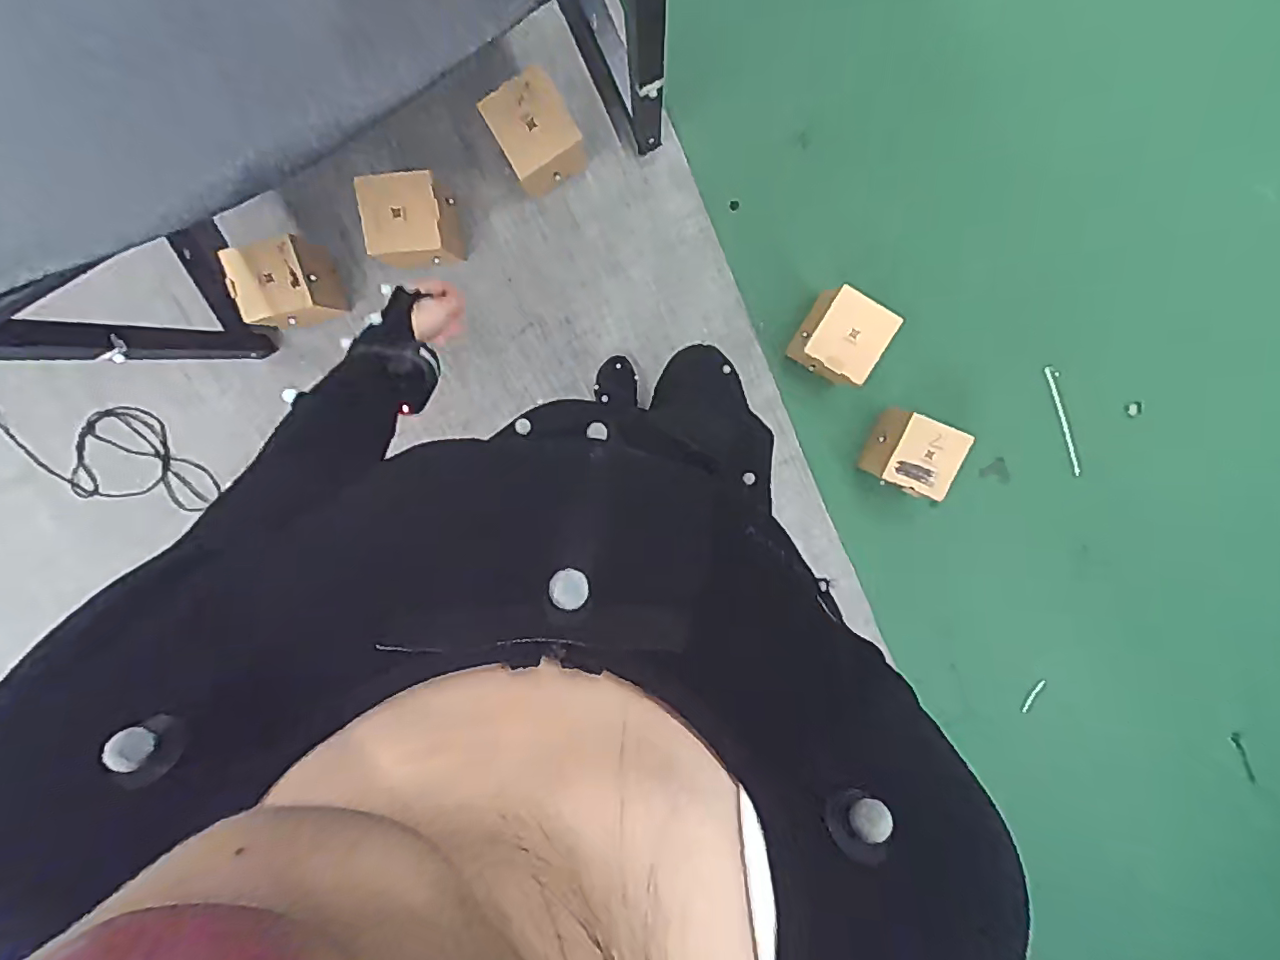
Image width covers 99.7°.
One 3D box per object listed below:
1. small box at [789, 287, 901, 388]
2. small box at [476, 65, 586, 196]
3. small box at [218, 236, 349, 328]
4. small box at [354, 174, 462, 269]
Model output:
[{"bbox_3d":[0.488,-0.345,1.323,0.168,0.176,0.179,29,102,-6],"label":"small box"},{"bbox_3d":[-0.237,-0.779,1.234,0.168,0.176,0.179,-30,101,6],"label":"small box"},{"bbox_3d":[-0.855,-0.472,1.314,0.179,0.176,0.168,-13,102,4],"label":"small box"},{"bbox_3d":[-0.536,-0.604,1.280,0.179,0.176,0.168,-5,102,3],"label":"small box"}]
